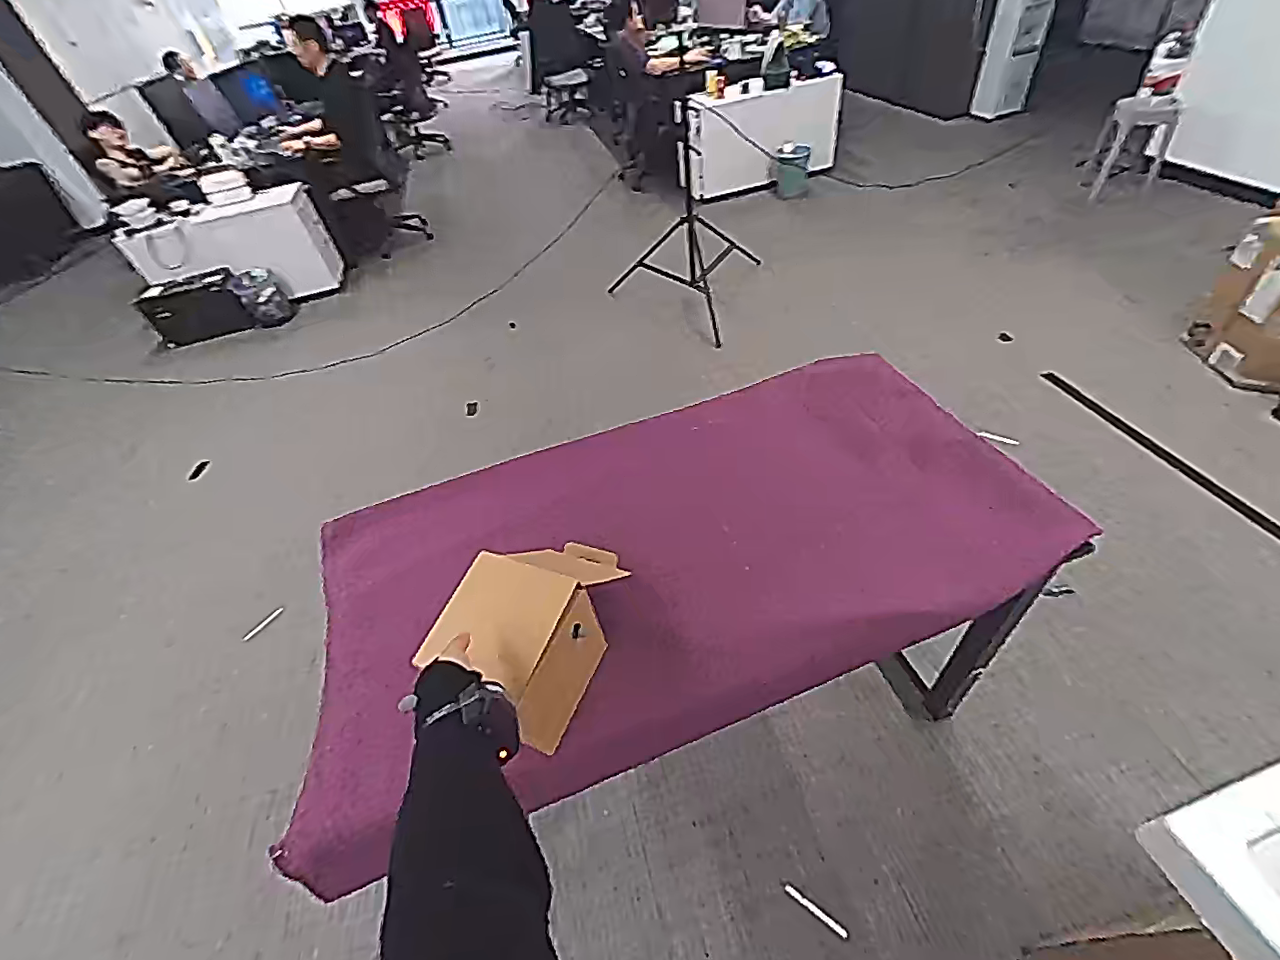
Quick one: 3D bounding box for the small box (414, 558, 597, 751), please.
[{"bbox_3d":[-0.173,0.245,0.767,0.168,0.176,0.179,12,49,23],"label":"small box"}]
